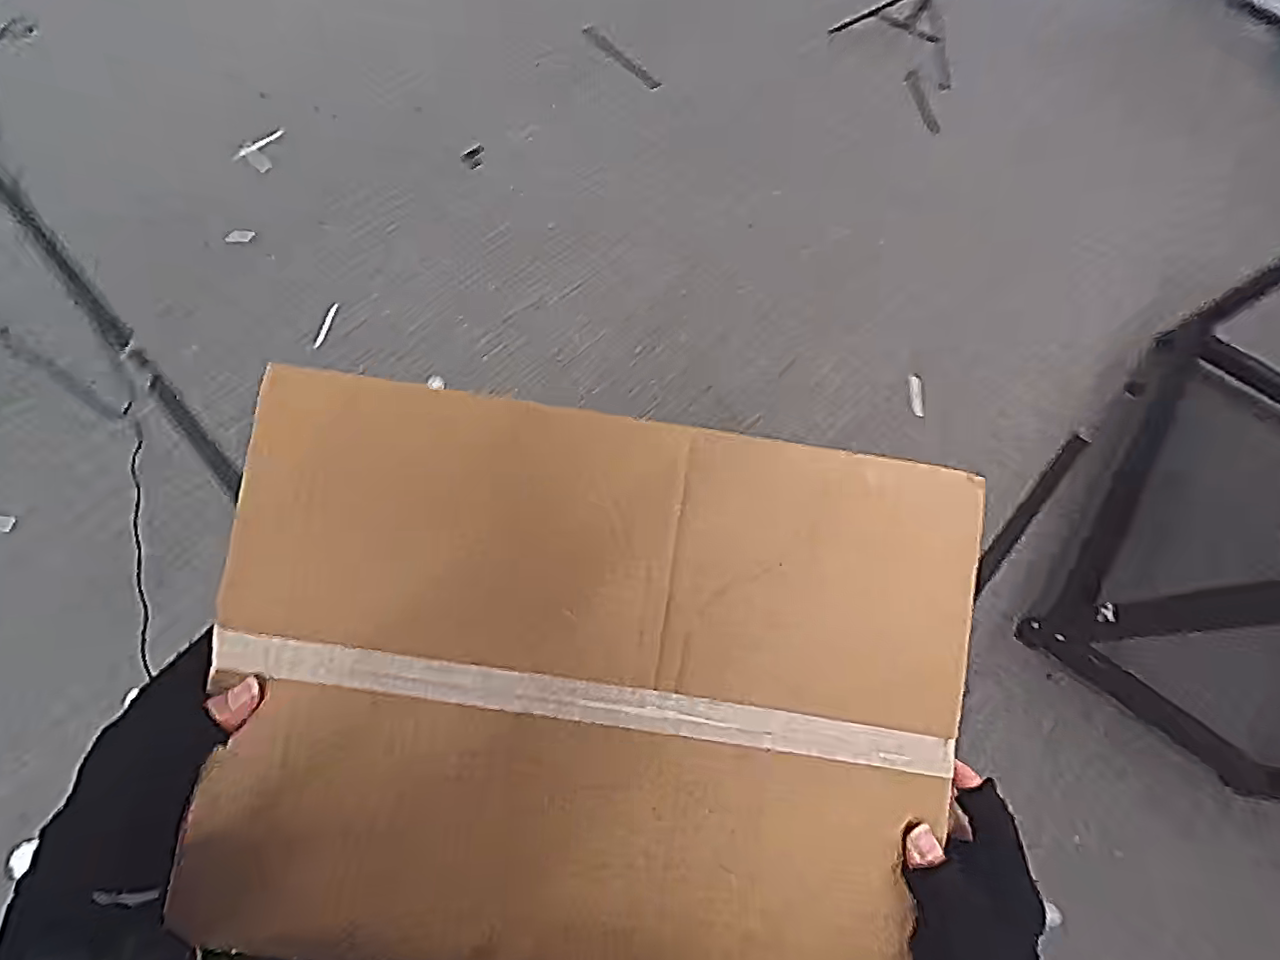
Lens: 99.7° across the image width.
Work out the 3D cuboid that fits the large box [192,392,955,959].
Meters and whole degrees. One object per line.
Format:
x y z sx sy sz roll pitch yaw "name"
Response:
-0.034 0.132 0.454 0.408 0.320 0.320 8 88 0 "large box"
